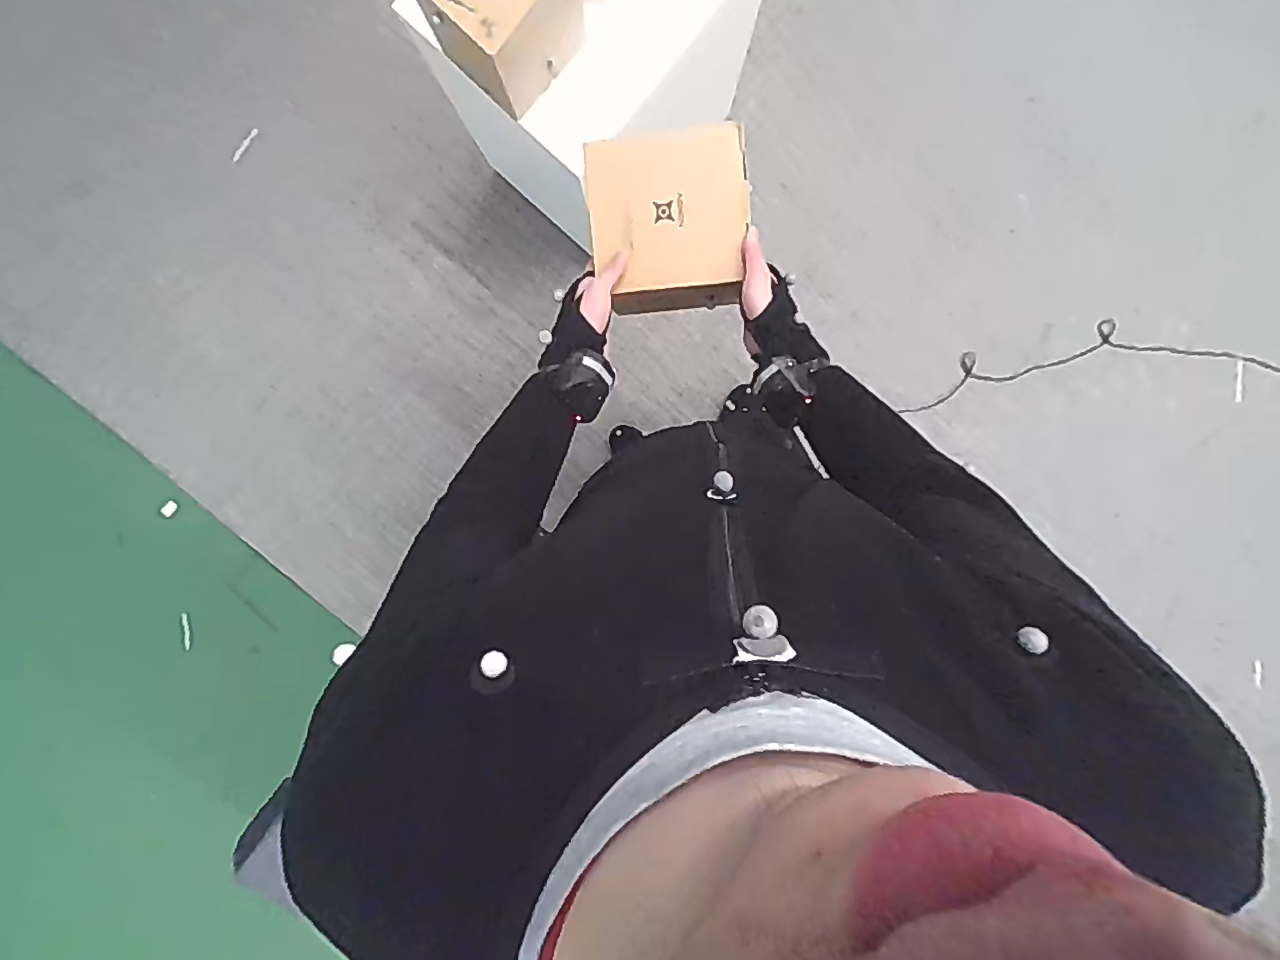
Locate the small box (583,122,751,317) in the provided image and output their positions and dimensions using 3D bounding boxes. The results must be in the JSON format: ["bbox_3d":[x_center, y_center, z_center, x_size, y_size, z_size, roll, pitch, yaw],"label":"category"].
[{"bbox_3d":[0.038,-0.303,0.665,0.179,0.176,0.168,-4,97,8],"label":"small box"}]

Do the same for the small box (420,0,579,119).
[{"bbox_3d":[-0.203,-0.690,0.790,0.168,0.176,0.179,42,94,-4],"label":"small box"}]
